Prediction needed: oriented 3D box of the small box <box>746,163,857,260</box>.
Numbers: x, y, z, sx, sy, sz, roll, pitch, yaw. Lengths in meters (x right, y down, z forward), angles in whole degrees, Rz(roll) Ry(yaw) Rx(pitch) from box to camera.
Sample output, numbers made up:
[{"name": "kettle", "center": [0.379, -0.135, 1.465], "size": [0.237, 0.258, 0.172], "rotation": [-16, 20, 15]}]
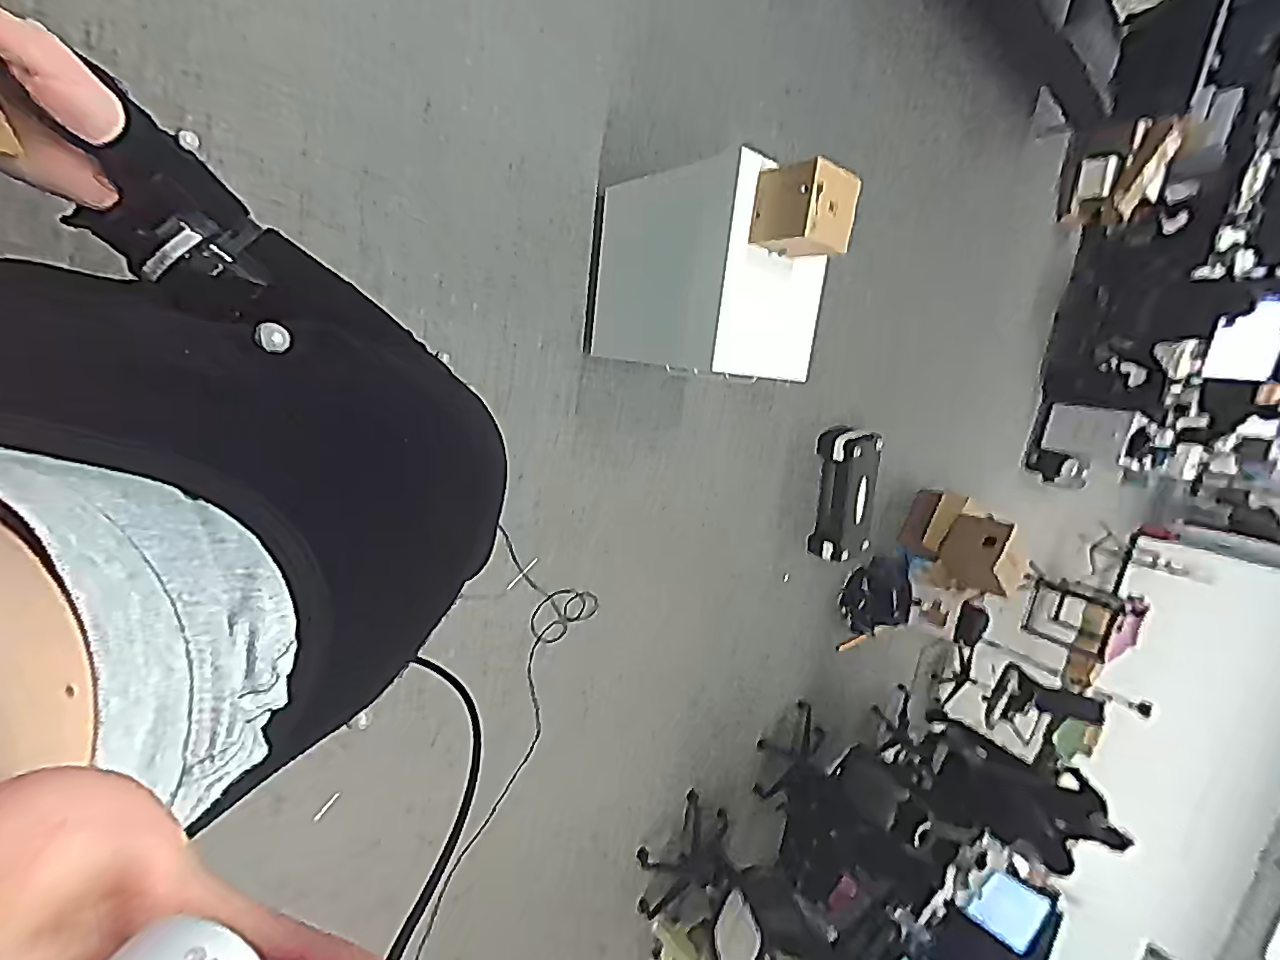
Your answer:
[{"name": "small box", "center": [0.382, -0.627, 1.287], "size": [0.179, 0.176, 0.168], "rotation": [-3, 106, -40]}]
